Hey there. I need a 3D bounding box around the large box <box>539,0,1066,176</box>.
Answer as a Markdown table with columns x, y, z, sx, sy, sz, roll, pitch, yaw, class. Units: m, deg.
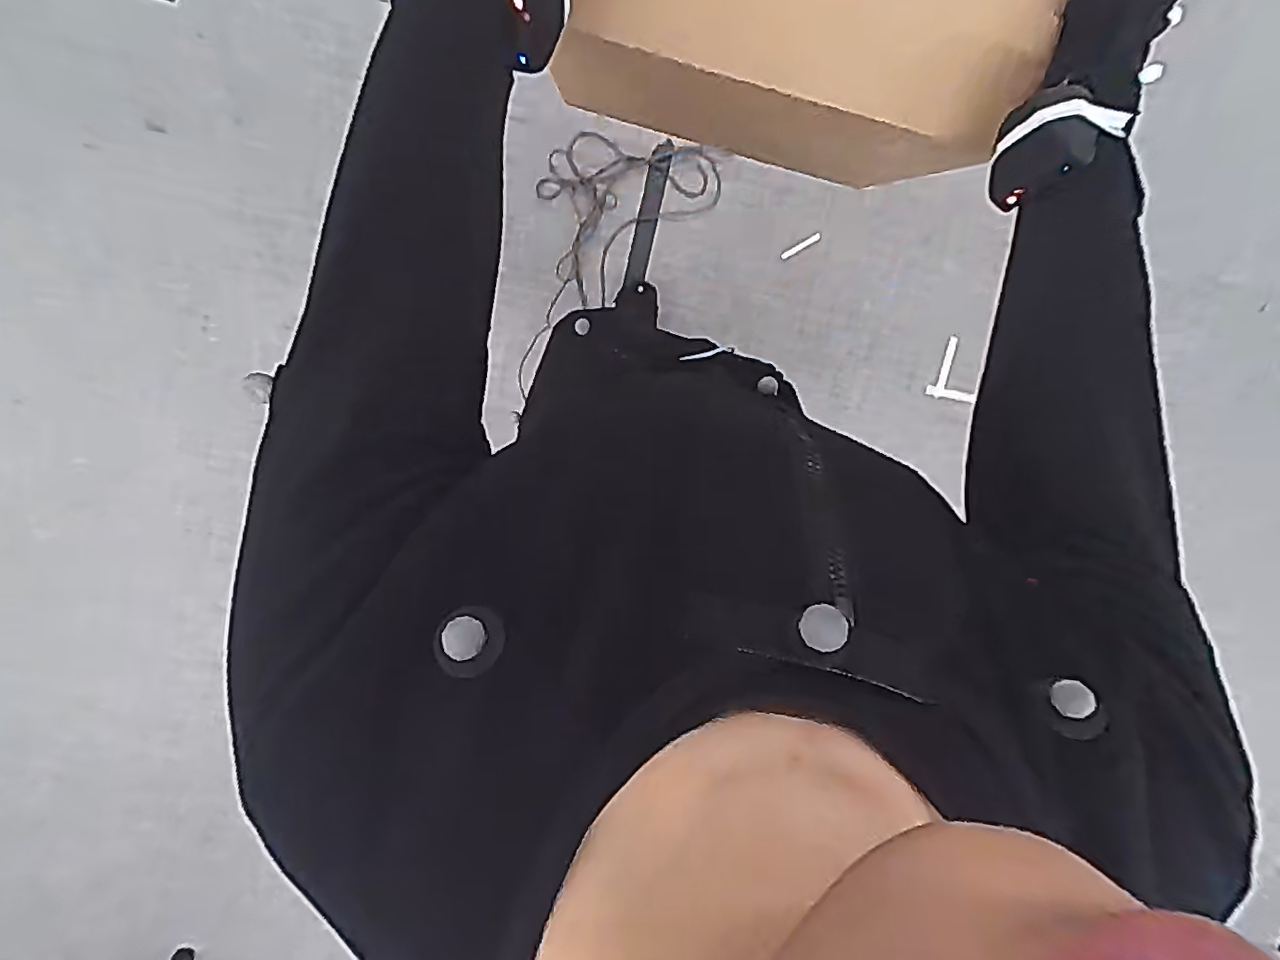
| x | y | z | sx | sy | sz | roll | pitch | yaw | class |
| --- | --- | --- | --- | --- | --- | --- | --- | --- | --- |
| 0.141 | -0.515 | 0.504 | 0.408 | 0.320 | 0.320 | 12 | 114 | -7 | large box |
